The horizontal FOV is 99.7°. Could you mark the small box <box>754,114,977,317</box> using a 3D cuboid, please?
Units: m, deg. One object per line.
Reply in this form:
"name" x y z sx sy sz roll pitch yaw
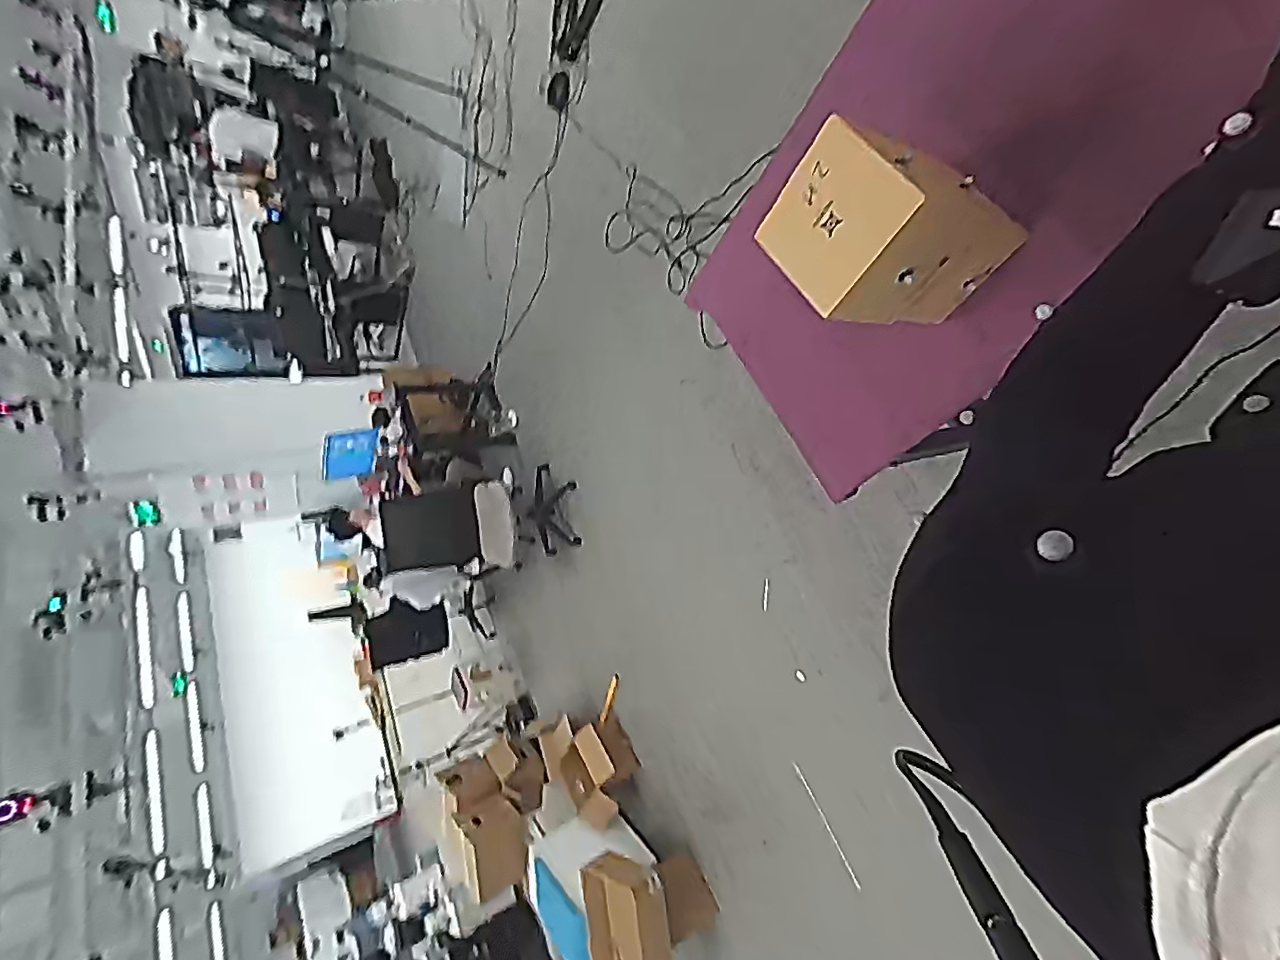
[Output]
"small box" 0.294 -0.335 0.711 0.179 0.176 0.168 61 139 24
